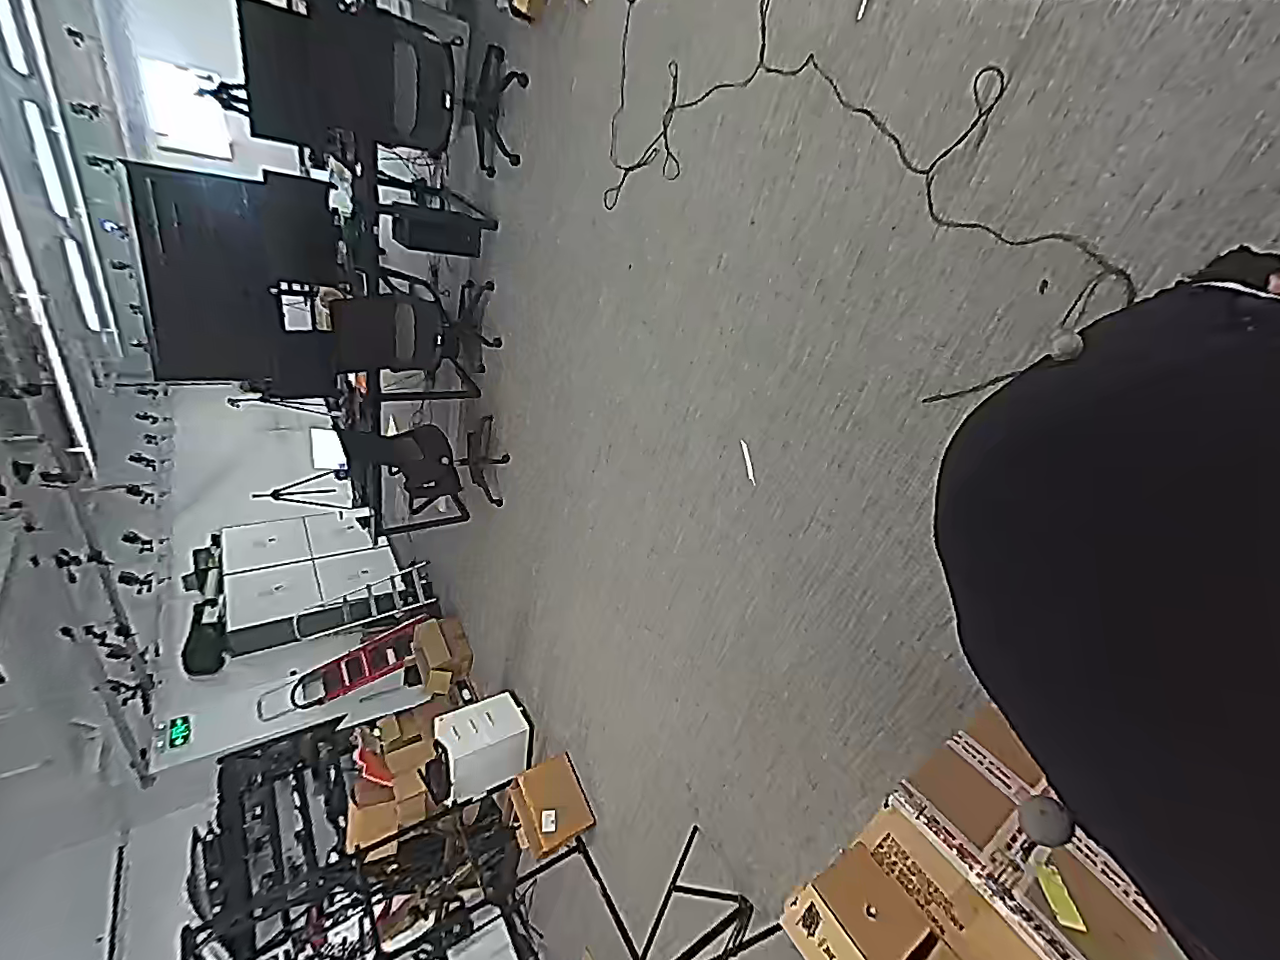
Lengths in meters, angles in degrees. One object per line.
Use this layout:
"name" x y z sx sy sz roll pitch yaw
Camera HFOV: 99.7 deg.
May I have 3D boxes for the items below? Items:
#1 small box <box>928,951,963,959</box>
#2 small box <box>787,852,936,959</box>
"small box" 0.536 0.976 0.940 0.179 0.176 0.168 44 130 38
"small box" 0.434 0.878 1.067 0.179 0.176 0.168 46 131 42
